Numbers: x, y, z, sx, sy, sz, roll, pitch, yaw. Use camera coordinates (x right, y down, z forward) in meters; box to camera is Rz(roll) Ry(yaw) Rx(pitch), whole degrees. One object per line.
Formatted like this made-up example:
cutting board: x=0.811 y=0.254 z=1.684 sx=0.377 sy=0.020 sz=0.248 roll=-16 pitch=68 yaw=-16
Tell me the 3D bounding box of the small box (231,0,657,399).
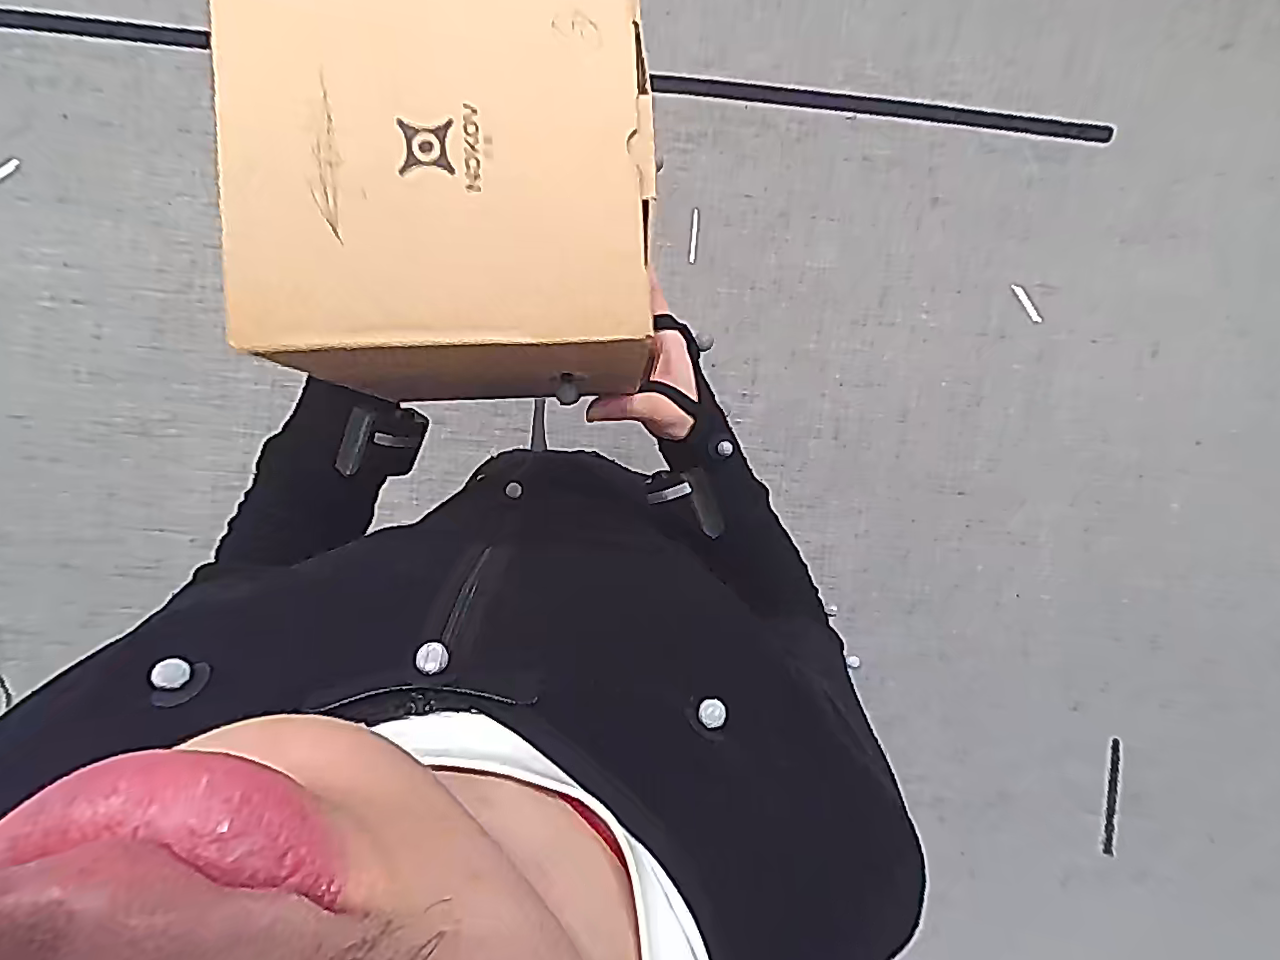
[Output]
small box: x=-0.088 y=-0.142 z=0.317 sx=0.179 sy=0.176 sz=0.168 roll=-4 pitch=92 yaw=-3
